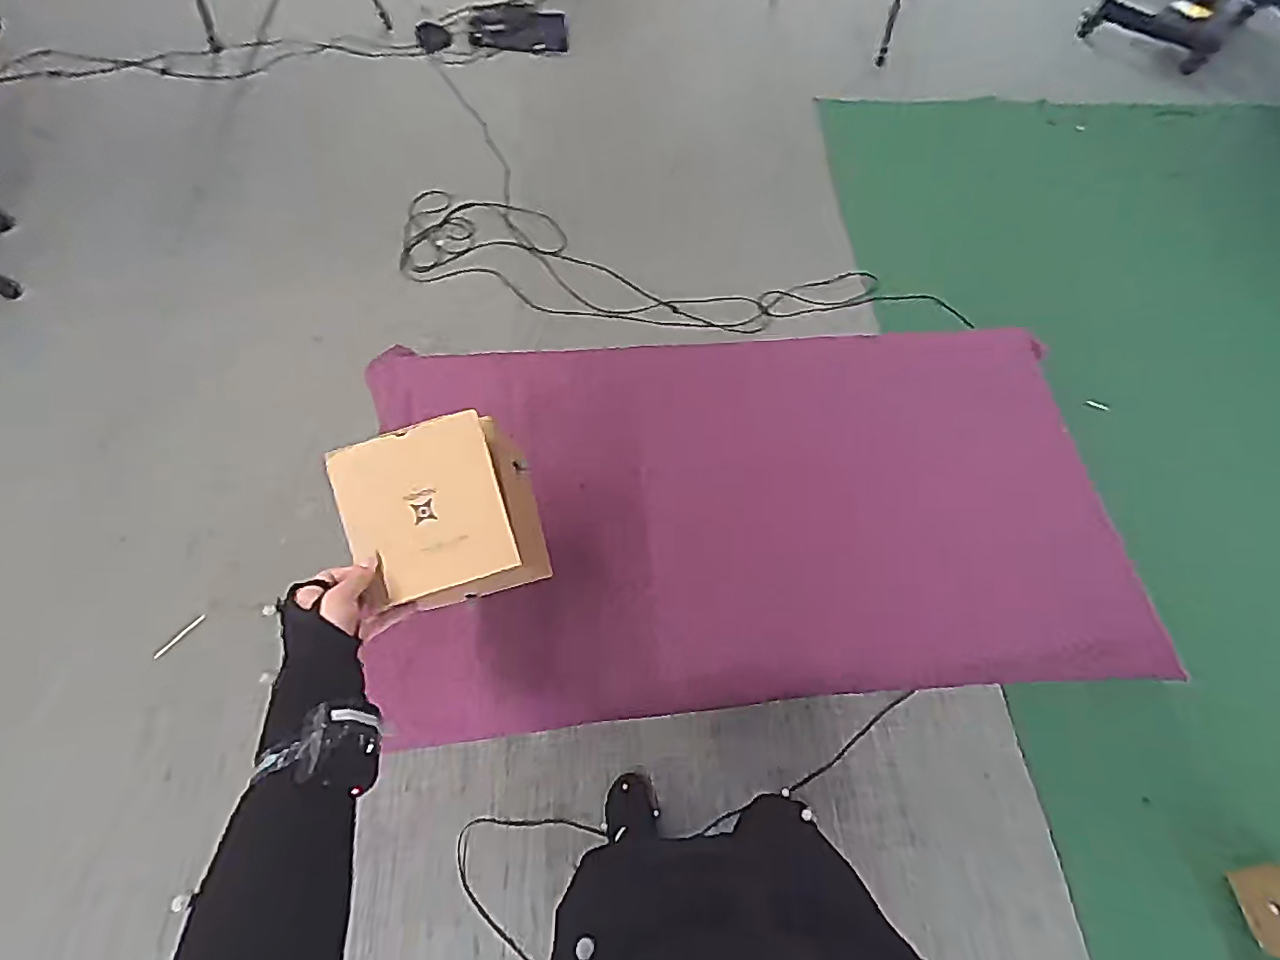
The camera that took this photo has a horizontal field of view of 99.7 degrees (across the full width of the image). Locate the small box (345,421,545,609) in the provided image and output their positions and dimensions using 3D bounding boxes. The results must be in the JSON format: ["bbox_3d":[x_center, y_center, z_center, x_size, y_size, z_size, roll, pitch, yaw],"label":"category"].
[{"bbox_3d":[-0.226,0.053,0.659,0.168,0.176,0.179,-15,76,-1],"label":"small box"}]

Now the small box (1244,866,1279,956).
[{"bbox_3d":[1.529,0.978,1.203,0.179,0.176,0.168,-5,64,-5],"label":"small box"}]
